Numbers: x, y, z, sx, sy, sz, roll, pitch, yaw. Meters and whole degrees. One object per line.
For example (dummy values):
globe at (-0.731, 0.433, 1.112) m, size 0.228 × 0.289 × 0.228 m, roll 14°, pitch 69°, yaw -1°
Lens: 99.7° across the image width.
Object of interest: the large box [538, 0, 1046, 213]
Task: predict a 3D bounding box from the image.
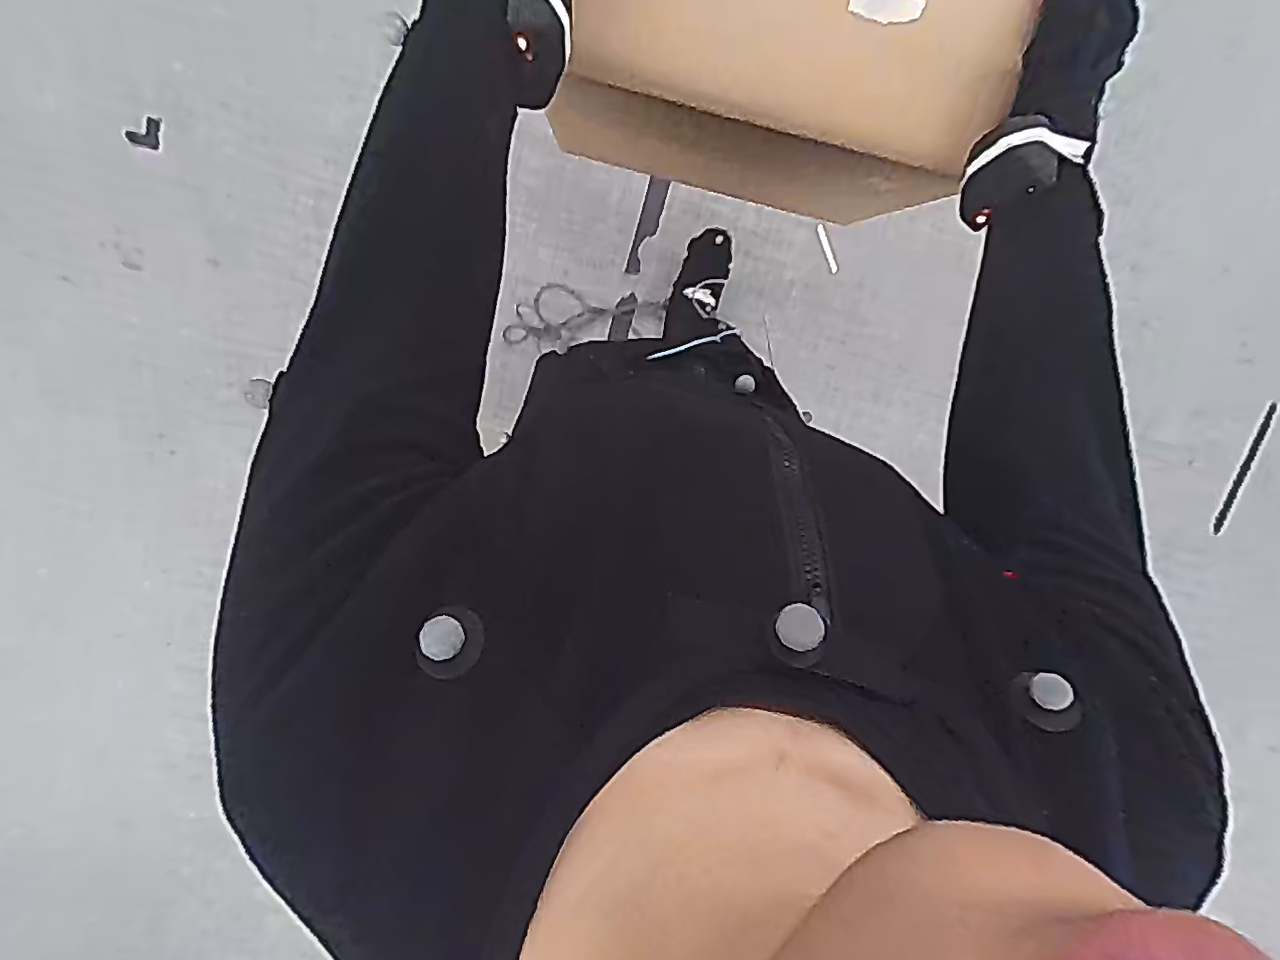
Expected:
large box at (0.133, -0.498, 0.547) m, size 0.408 × 0.320 × 0.320 m, roll 11°, pitch 110°, yaw -7°
